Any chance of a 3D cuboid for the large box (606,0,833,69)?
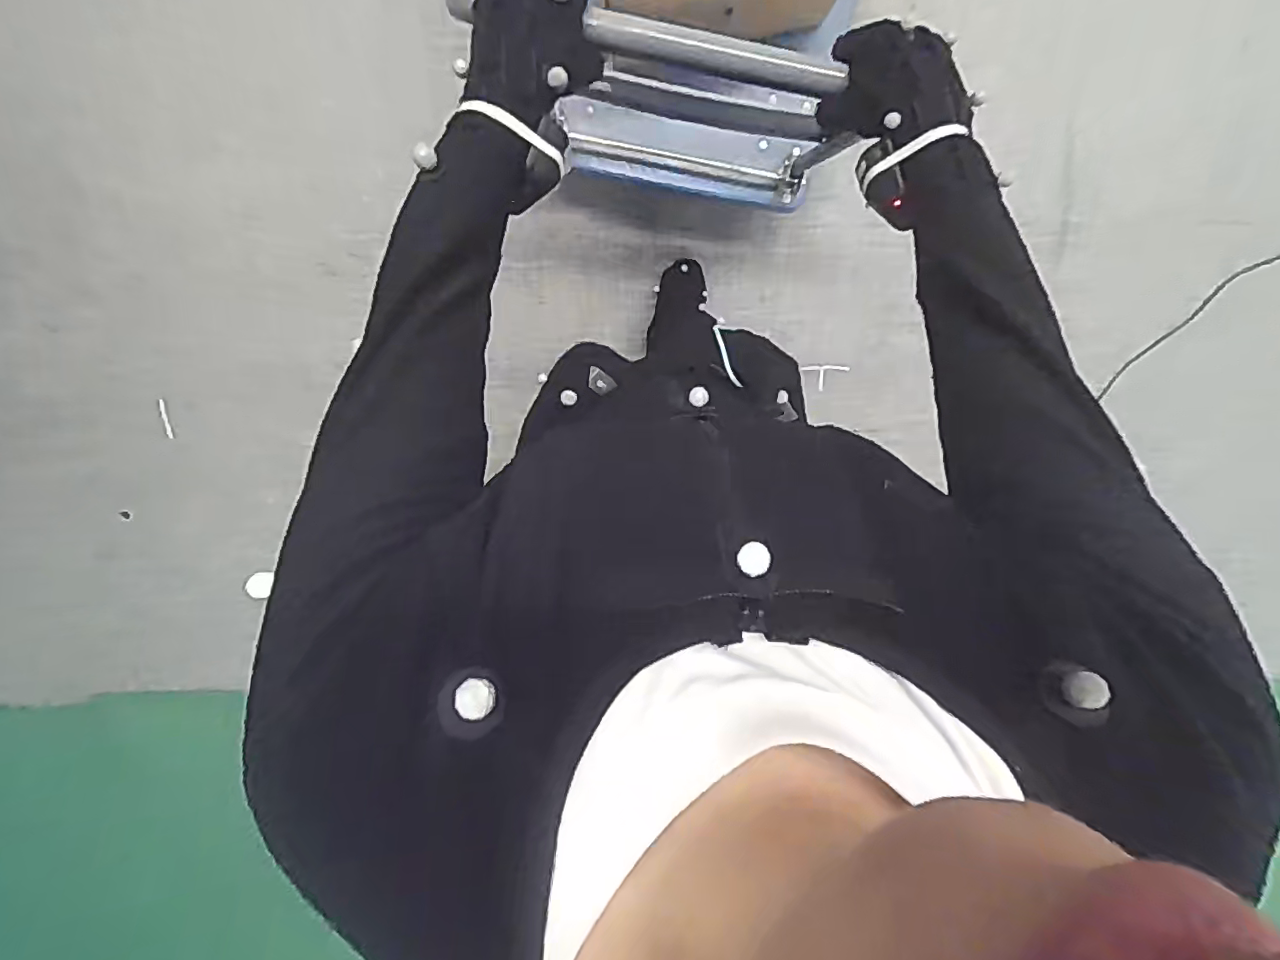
[{"bbox_3d":[0.124,-0.929,0.856,0.408,0.320,0.320,-10,107,4],"label":"large box"}]
